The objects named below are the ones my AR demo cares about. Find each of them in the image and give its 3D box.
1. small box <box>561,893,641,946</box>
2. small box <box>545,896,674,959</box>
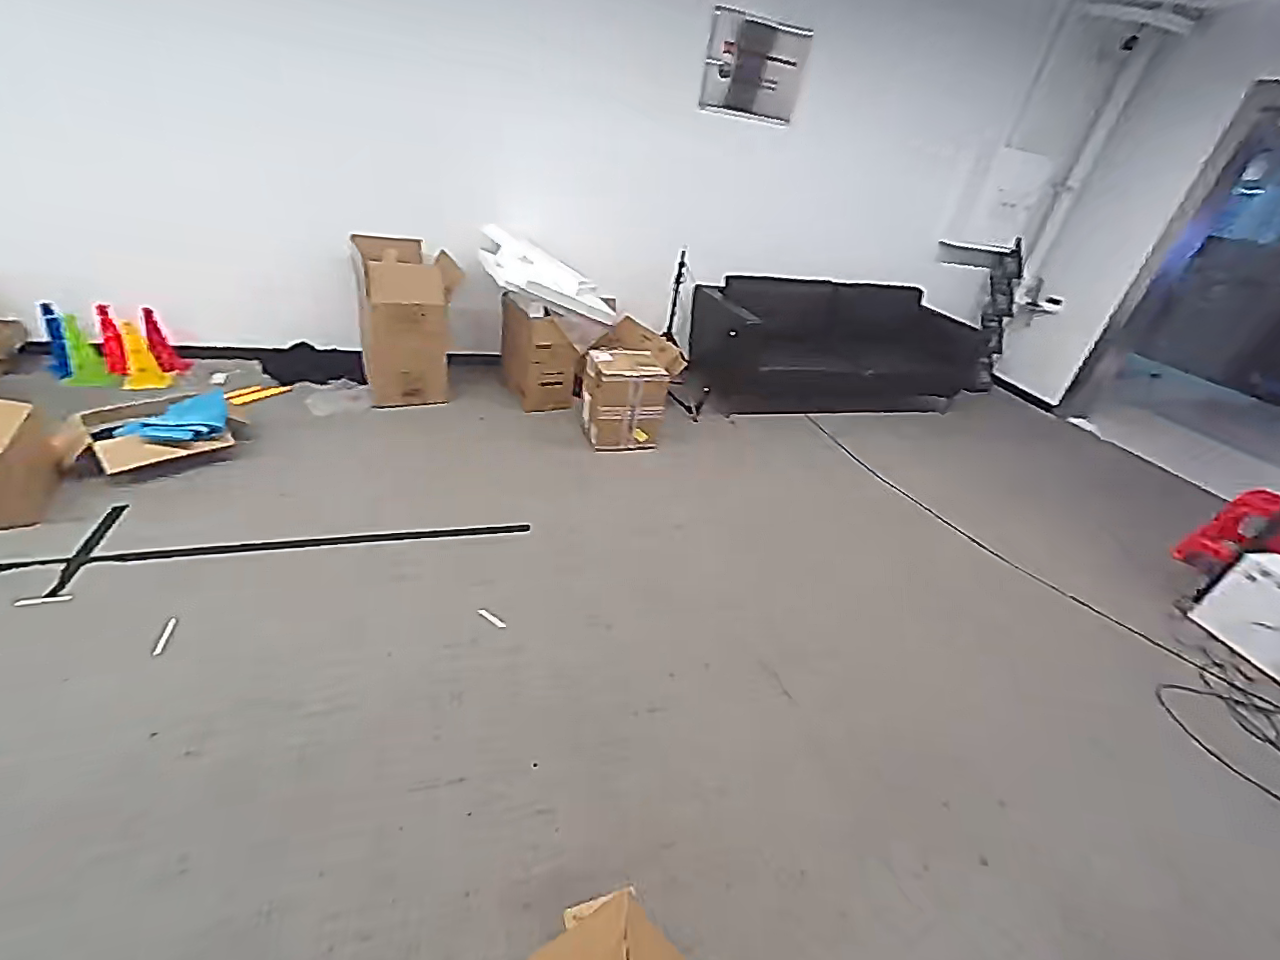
[{"bbox_3d":[-0.070,1.047,1.167,0.168,0.176,0.179,-4,35,-21],"label":"small box"},{"bbox_3d":[-0.031,0.496,0.417,0.179,0.176,0.168,55,-1,1],"label":"small box"}]
